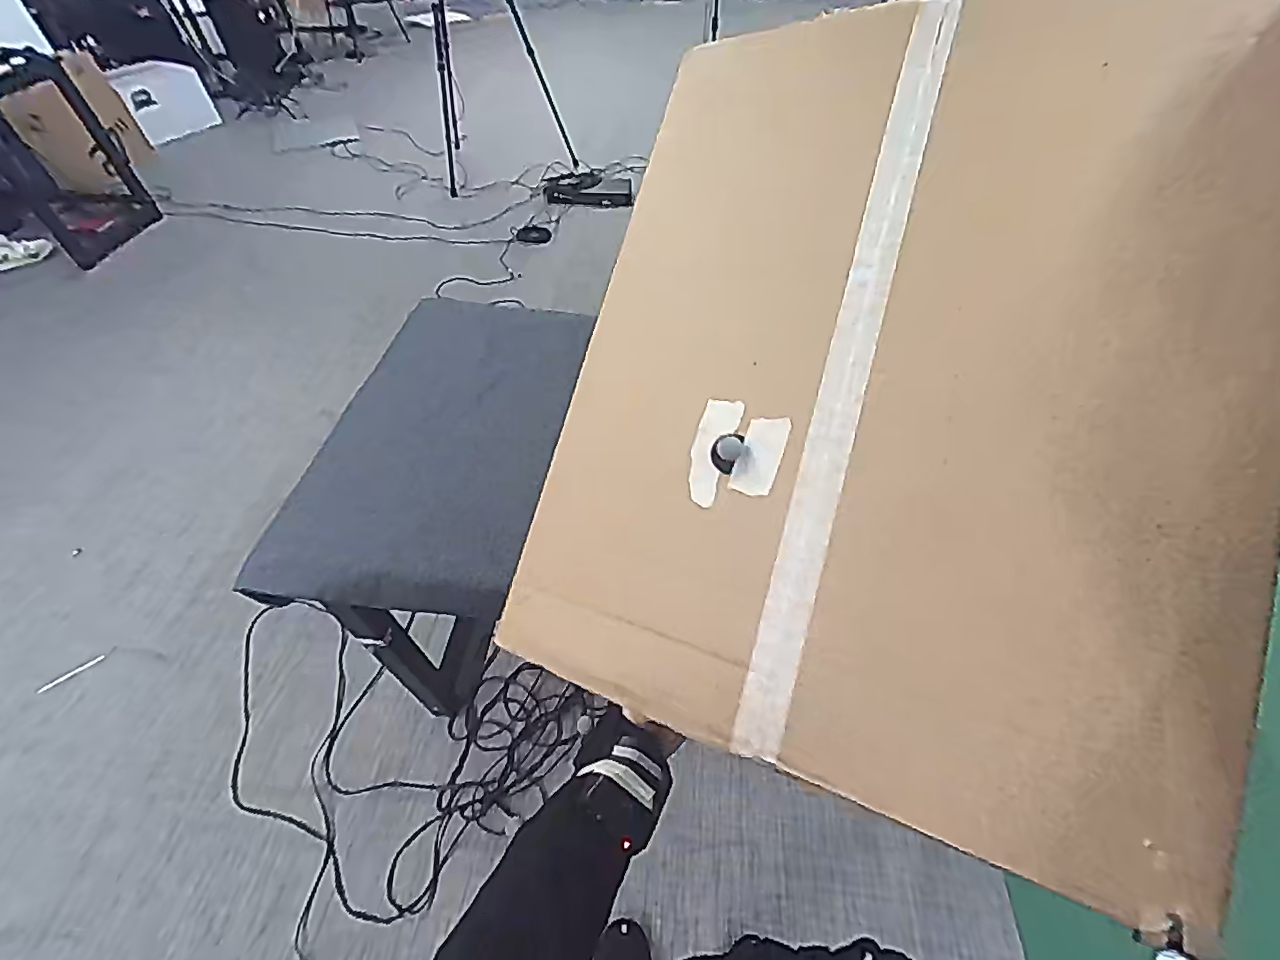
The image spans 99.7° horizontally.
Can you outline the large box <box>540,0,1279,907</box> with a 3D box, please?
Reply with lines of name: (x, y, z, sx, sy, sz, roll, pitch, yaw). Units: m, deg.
large box: (0.178, -0.028, 0.419, 0.320, 0.320, 0.408, 12, 83, 26)
